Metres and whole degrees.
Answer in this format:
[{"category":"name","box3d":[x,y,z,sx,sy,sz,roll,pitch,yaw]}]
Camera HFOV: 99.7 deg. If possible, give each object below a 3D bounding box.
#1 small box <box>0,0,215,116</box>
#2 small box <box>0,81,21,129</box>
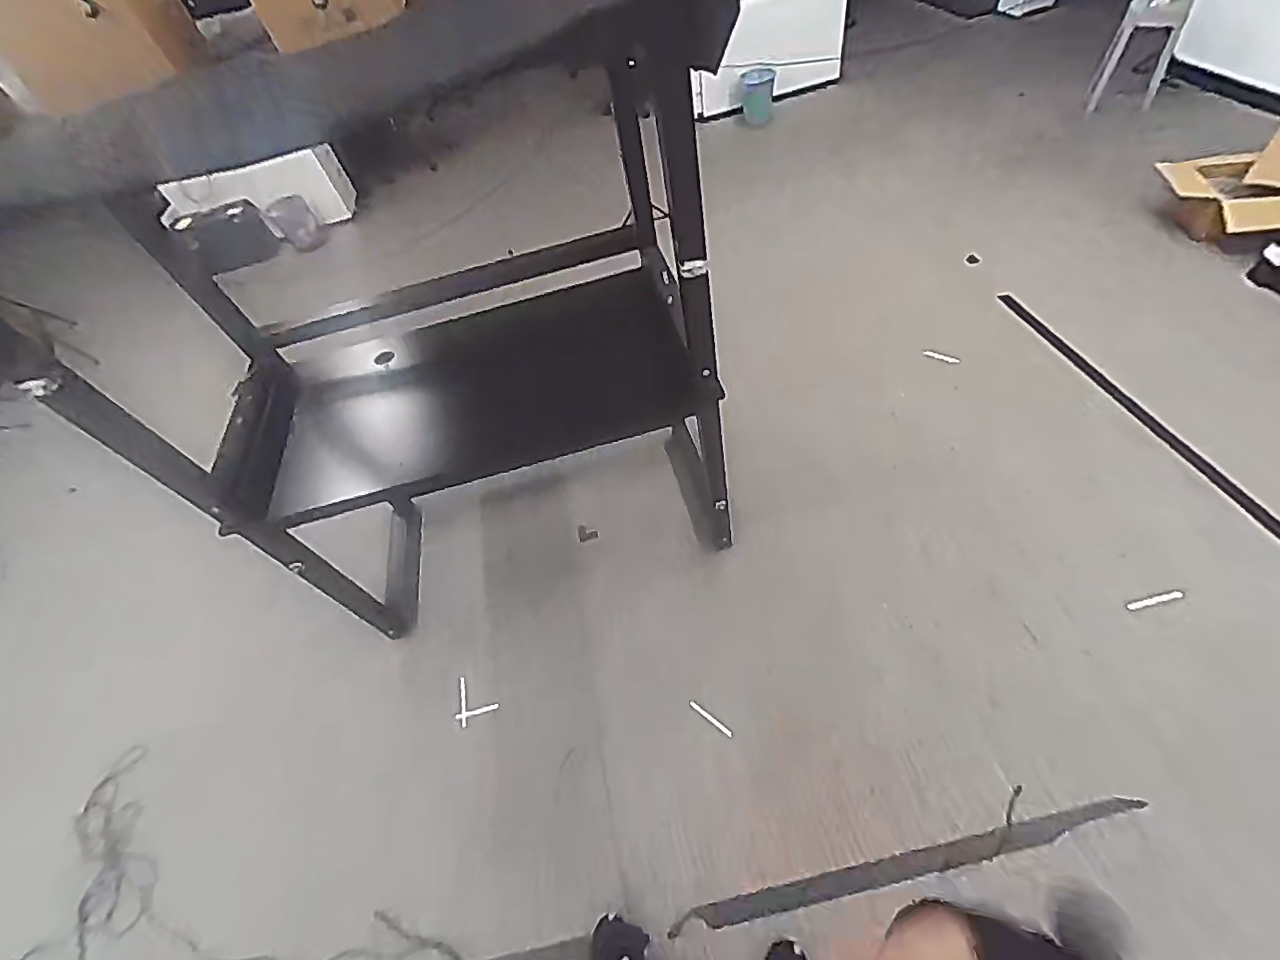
[{"category":"small box","box3d":[-0.702,-0.600,0.694,0.179,0.176,0.168,-17,49,-4]},{"category":"small box","box3d":[-0.971,-0.513,0.683,0.168,0.176,0.179,-18,52,-3]}]
